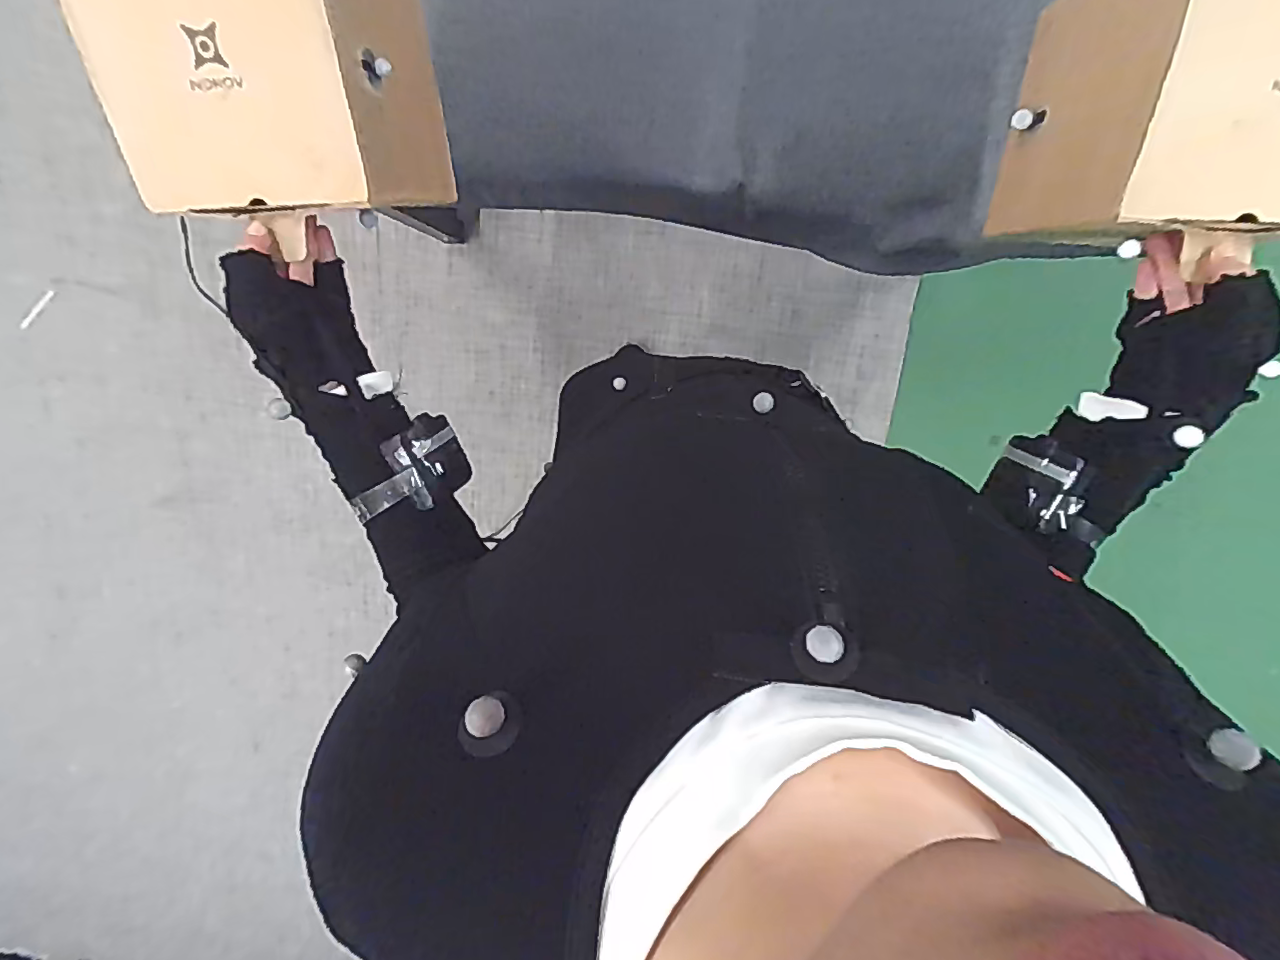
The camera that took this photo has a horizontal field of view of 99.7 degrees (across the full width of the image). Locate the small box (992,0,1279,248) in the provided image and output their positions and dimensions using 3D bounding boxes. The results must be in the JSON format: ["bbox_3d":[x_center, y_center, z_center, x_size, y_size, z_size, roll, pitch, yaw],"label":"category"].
[{"bbox_3d":[0.400,-0.270,0.398,0.168,0.176,0.179,4,112,2],"label":"small box"}]

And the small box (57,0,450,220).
[{"bbox_3d":[-0.259,-0.297,0.400,0.168,0.176,0.179,-1,117,3],"label":"small box"}]
